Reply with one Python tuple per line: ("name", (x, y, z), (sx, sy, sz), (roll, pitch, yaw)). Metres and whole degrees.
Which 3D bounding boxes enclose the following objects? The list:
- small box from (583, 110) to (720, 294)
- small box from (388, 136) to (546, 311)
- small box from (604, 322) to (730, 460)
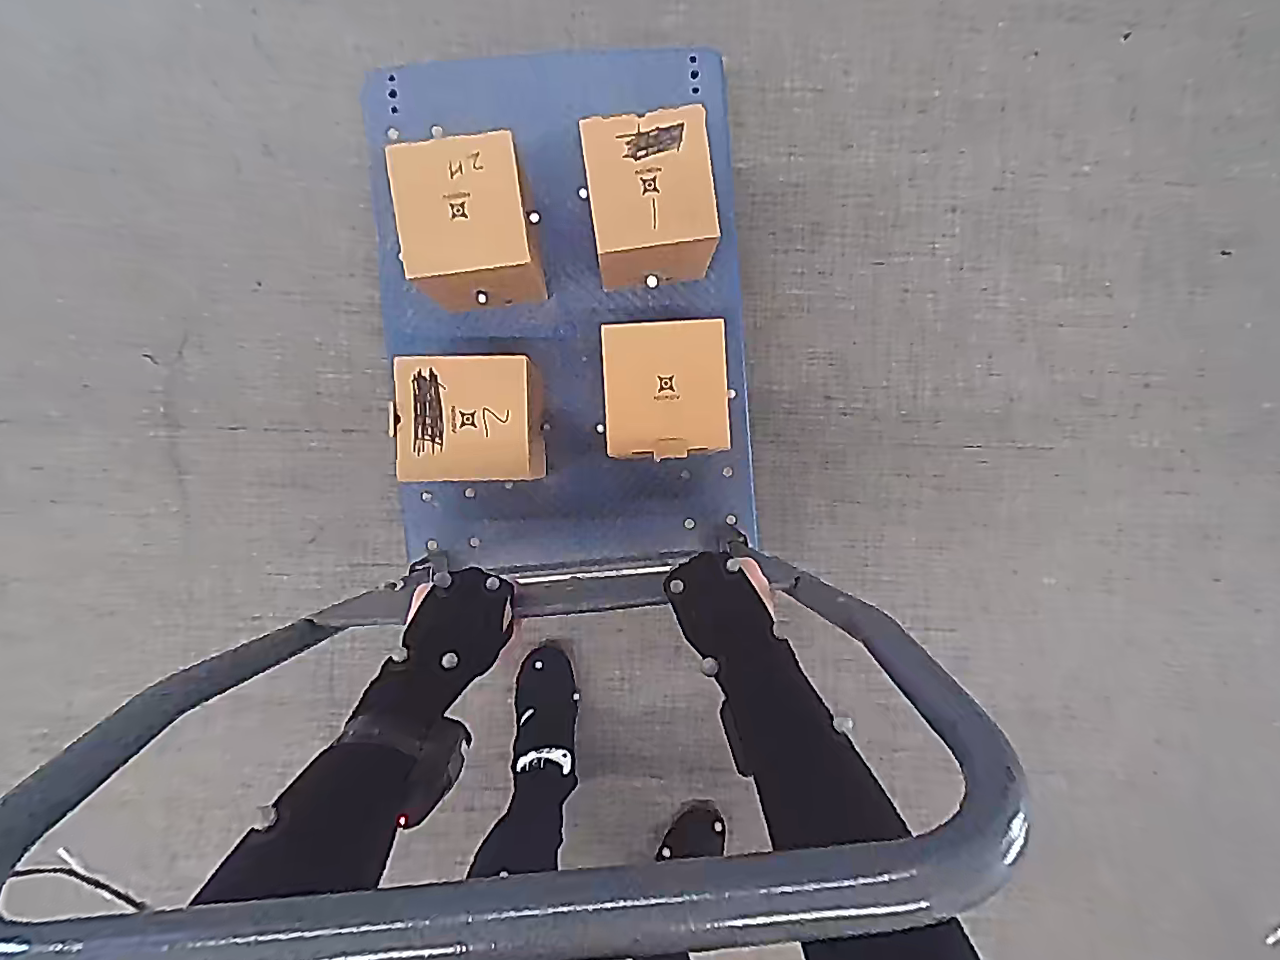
("small box", (0.013, -0.391, 0.786), (0.168, 0.176, 0.179), (-8, 93, 0))
("small box", (-0.237, -0.354, 0.781), (0.168, 0.176, 0.179), (-8, 92, -2))
("small box", (0.033, -0.121, 0.796), (0.168, 0.176, 0.179), (-3, 92, -2))
